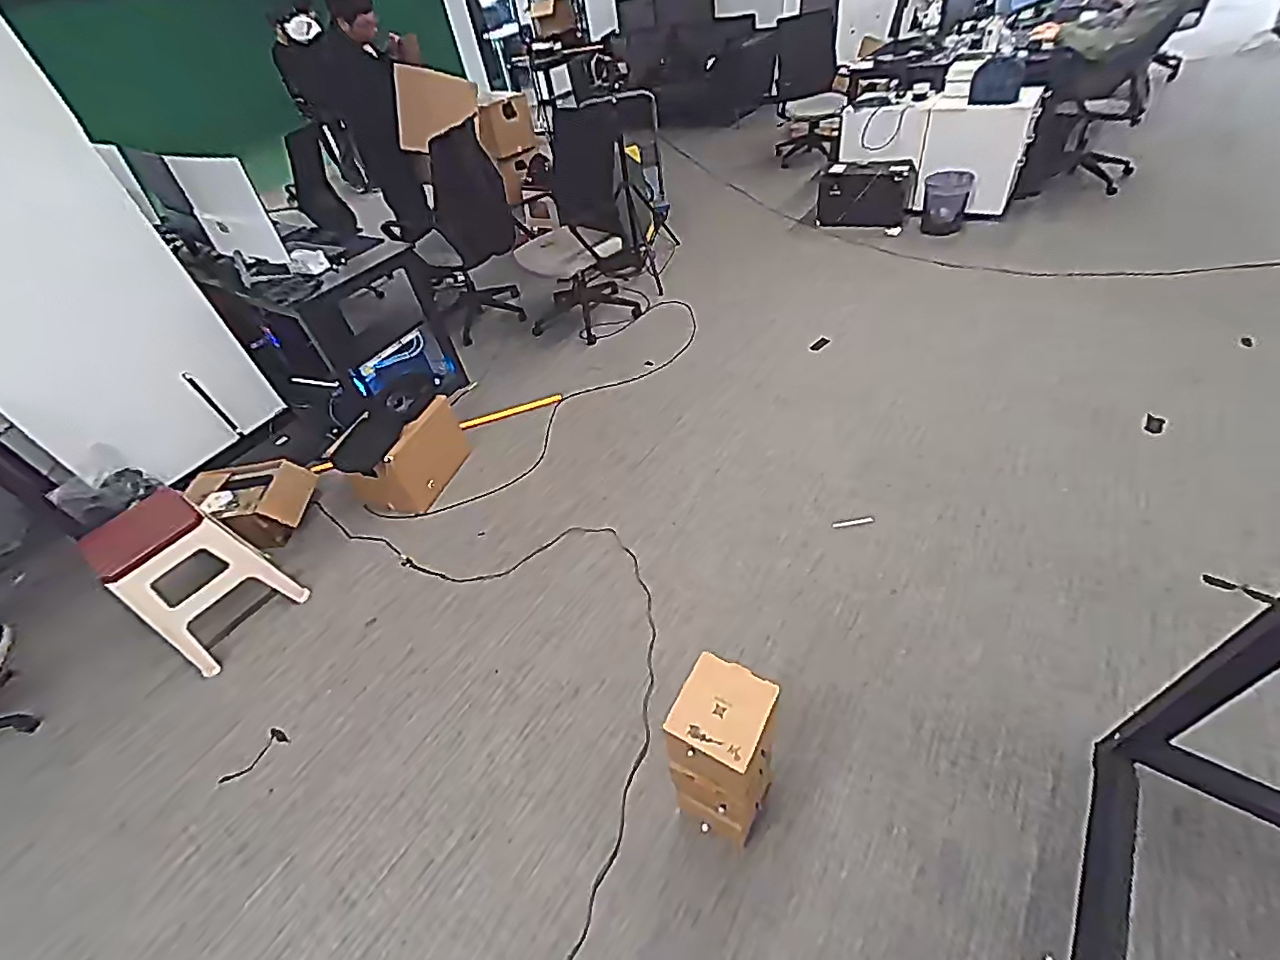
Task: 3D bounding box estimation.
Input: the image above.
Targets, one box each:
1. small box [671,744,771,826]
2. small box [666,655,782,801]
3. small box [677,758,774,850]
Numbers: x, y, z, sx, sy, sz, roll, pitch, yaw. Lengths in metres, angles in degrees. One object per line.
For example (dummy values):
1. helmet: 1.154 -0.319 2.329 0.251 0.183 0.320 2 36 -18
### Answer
1. small box: 0.183 0.611 1.173 0.168 0.176 0.179 16 49 25
2. small box: 0.166 0.487 1.066 0.168 0.176 0.179 18 50 27
3. small box: 0.205 0.730 1.281 0.168 0.176 0.179 18 52 28
